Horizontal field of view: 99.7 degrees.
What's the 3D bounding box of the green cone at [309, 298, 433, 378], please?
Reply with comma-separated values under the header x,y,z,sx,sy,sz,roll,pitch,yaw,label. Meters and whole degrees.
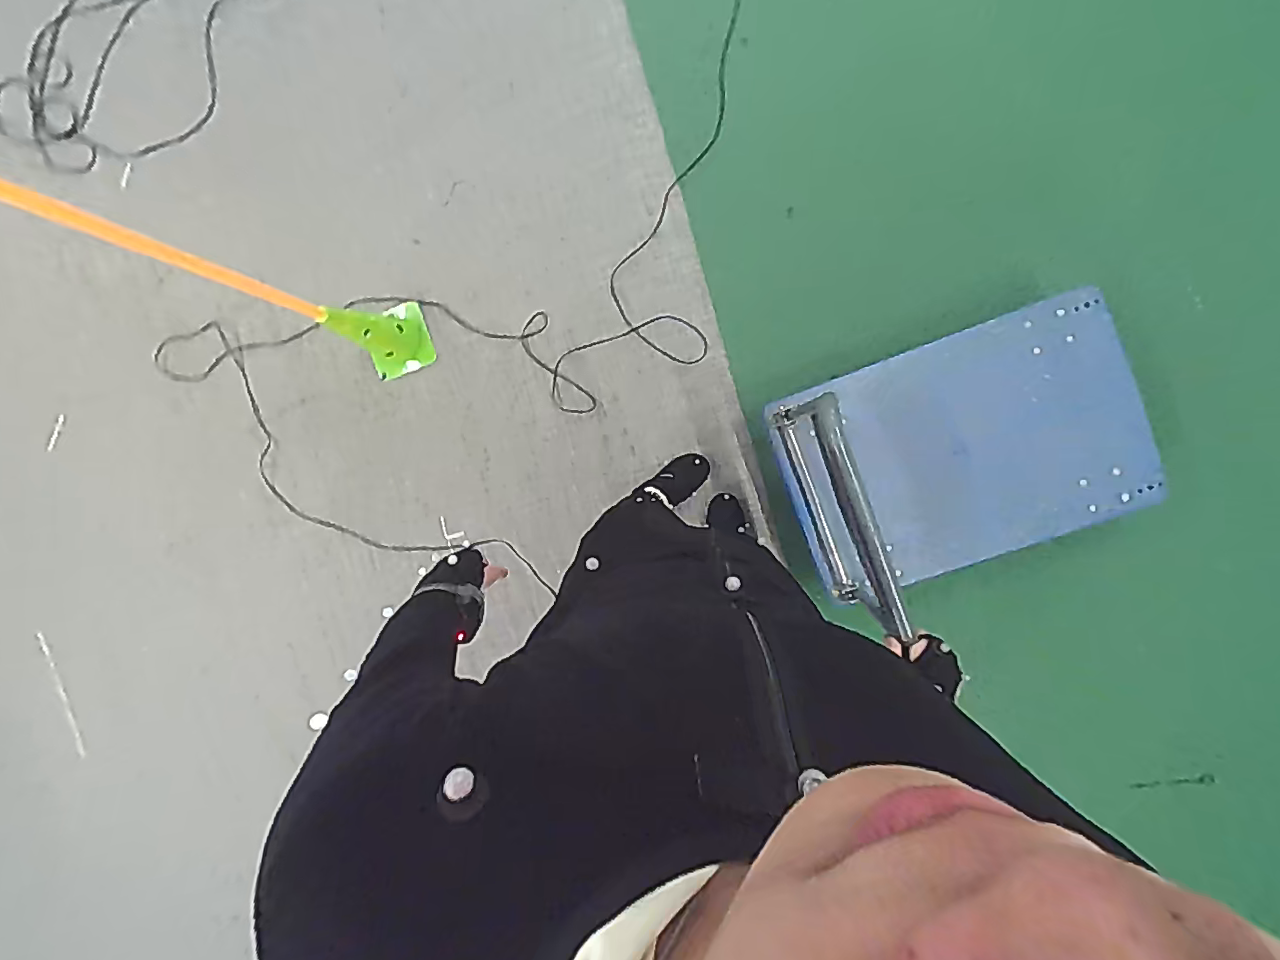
x,y,z,sx,sy,sz,roll,pitch,yaw,label
-0.768,-0.429,1.499,0.200,0.368,0.202,-20,90,7,green cone
